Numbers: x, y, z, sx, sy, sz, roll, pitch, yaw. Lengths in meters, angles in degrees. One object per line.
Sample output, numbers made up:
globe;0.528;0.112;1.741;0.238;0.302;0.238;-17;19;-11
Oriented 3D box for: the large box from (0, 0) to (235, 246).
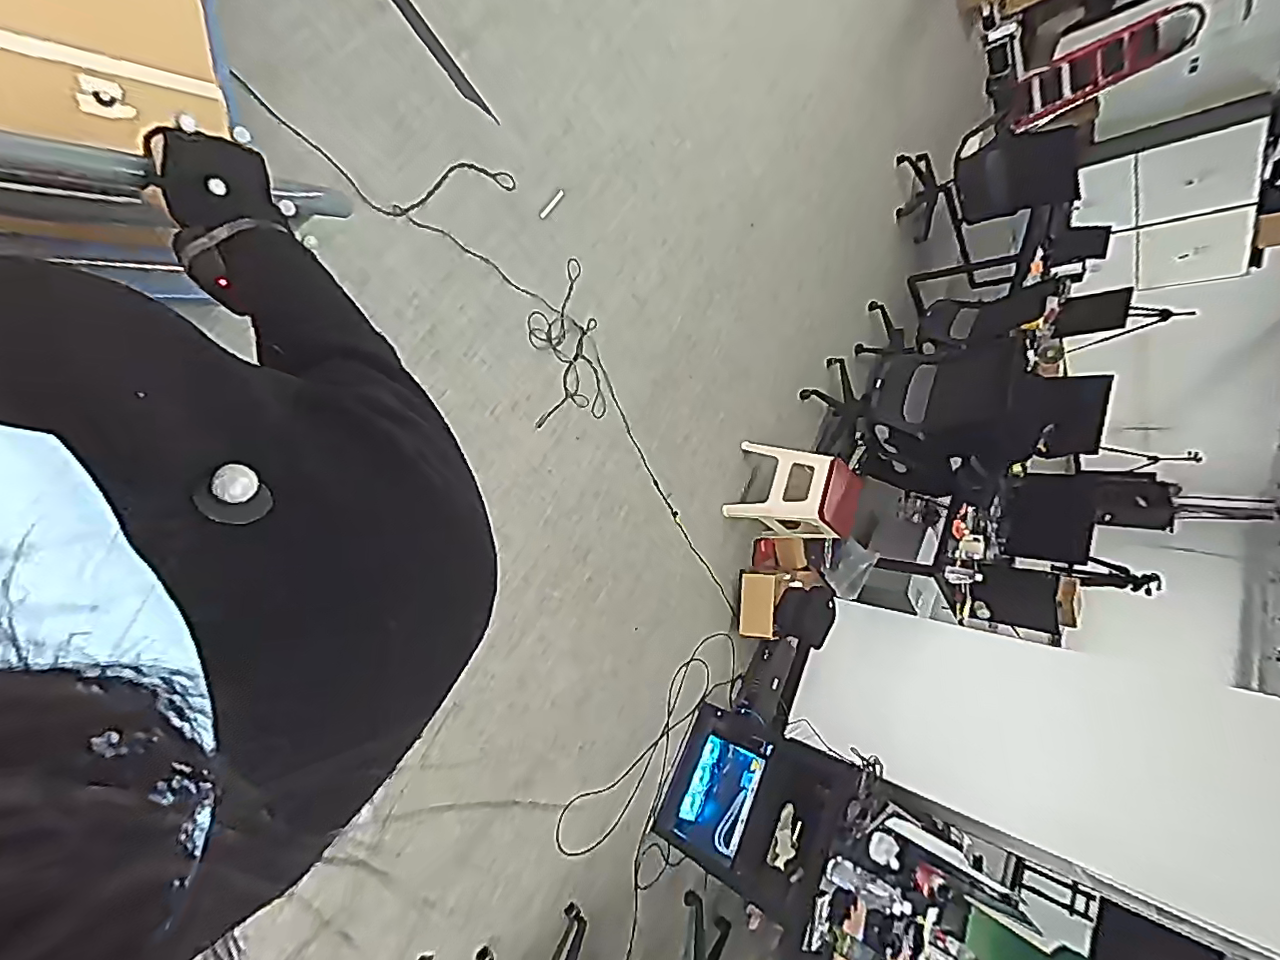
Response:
large box;-0.892;-0.557;0.786;0.408;0.320;0.320;-15;104;-45
